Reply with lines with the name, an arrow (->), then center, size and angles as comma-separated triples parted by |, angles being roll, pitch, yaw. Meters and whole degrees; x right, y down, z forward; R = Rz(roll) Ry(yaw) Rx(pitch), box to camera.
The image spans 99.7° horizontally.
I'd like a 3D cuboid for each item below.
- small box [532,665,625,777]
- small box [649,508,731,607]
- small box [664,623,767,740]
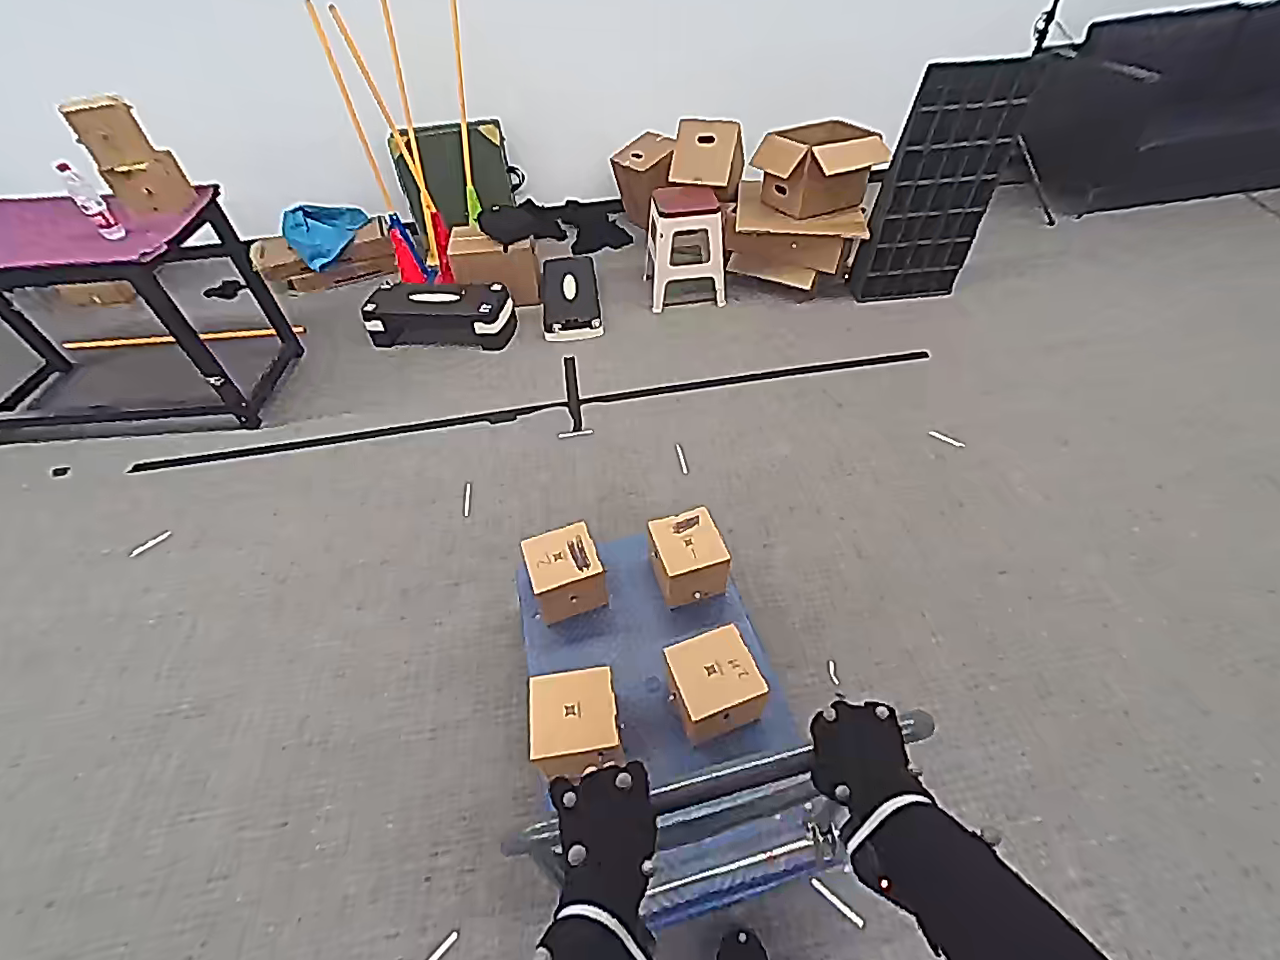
small box -> -0.132, 0.527, 1.174 | 0.179, 0.176, 0.168 | -7, 48, -5
small box -> 0.126, 0.208, 1.441 | 0.168, 0.176, 0.179 | -15, 50, -10
small box -> 0.164, 0.458, 1.217 | 0.179, 0.176, 0.168 | -17, 50, -11
